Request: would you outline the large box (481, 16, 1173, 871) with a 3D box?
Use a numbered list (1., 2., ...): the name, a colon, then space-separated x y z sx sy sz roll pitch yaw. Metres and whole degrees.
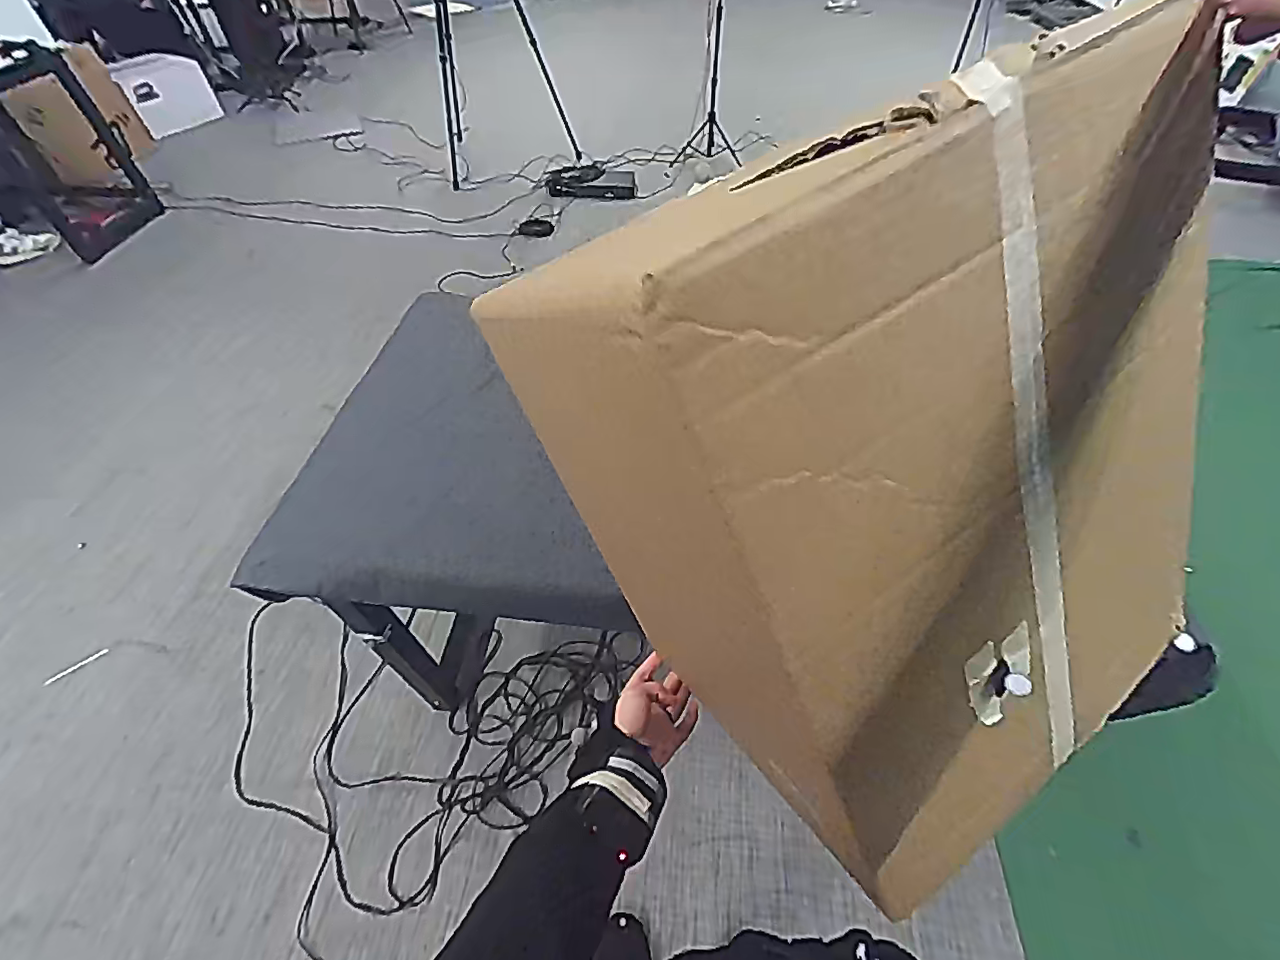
1. large box: 0.136 -0.020 0.428 0.320 0.408 0.320 -34 29 -14
